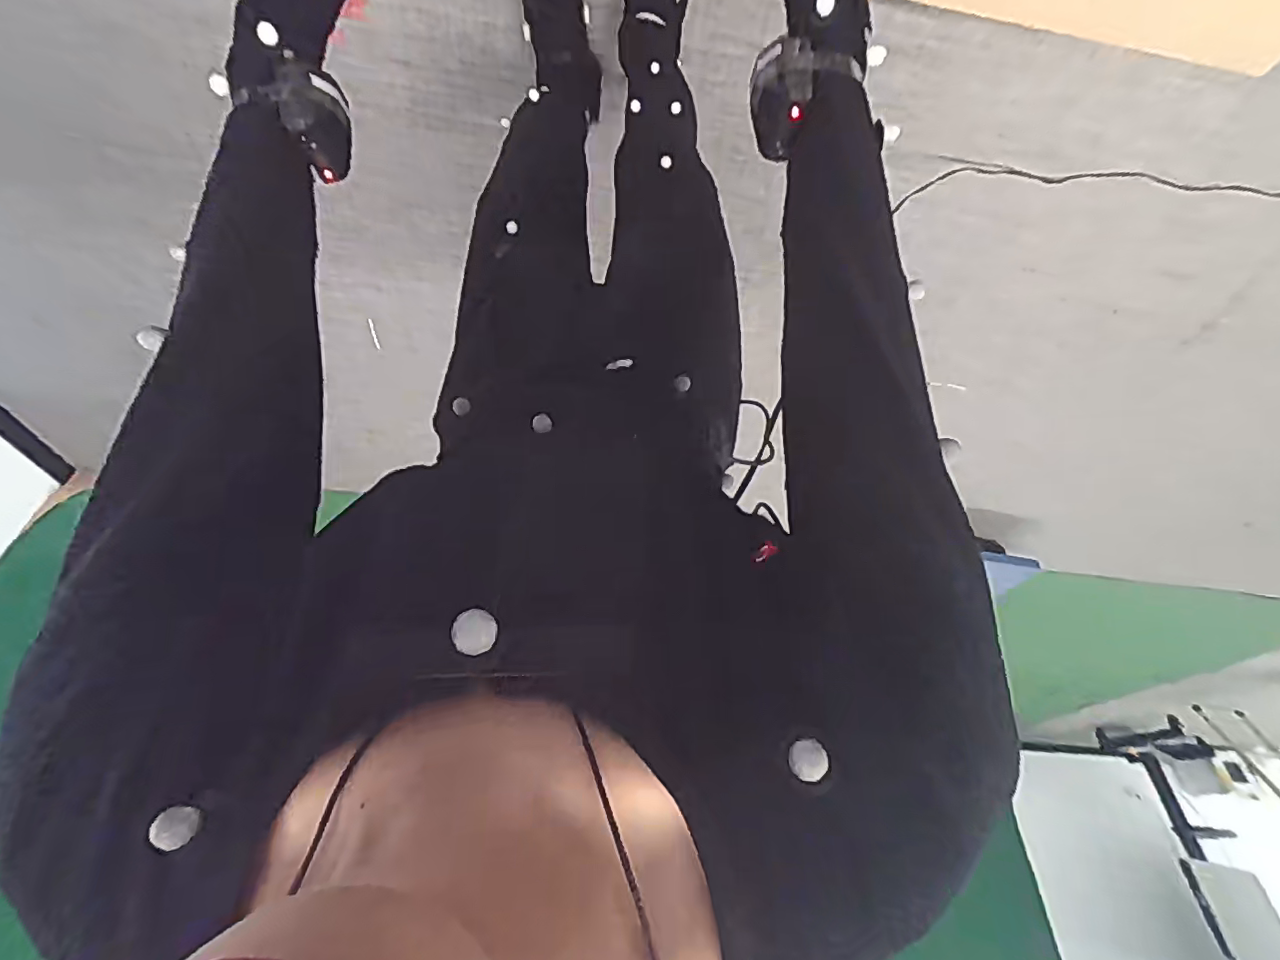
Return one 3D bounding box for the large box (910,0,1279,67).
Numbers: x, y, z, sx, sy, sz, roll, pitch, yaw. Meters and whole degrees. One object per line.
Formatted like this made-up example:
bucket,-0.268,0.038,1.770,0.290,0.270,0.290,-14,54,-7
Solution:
large box,0.448,-0.632,0.465,0.408,0.320,0.320,8,147,-5
